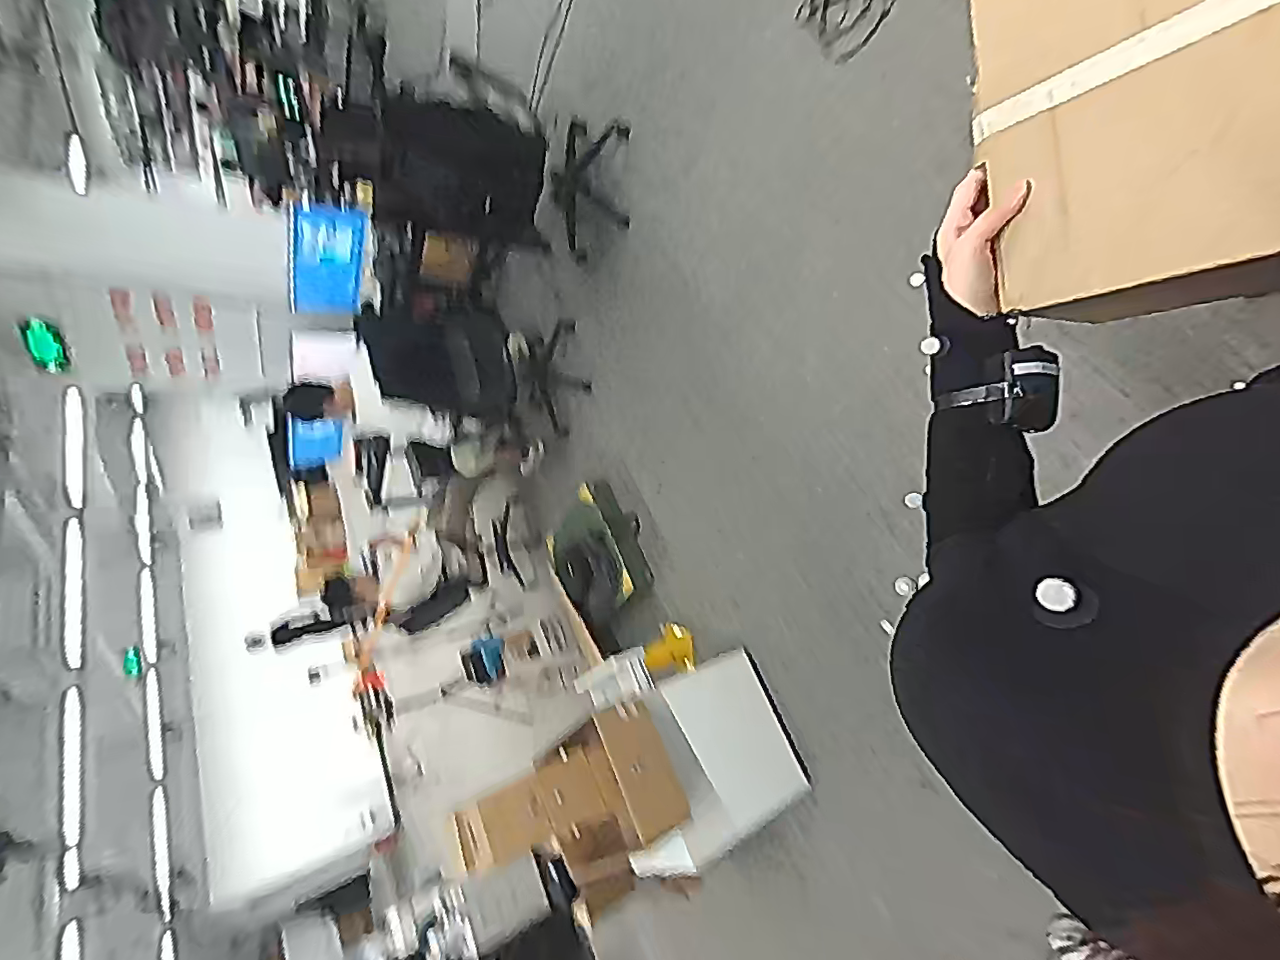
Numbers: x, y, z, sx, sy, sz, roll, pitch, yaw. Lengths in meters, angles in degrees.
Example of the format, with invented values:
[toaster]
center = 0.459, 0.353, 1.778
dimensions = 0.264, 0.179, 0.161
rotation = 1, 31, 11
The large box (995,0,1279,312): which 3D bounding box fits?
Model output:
[large box]
center = 0.534, -0.330, 0.383
dimensions = 0.408, 0.320, 0.320
rotation = -2, 98, 50
